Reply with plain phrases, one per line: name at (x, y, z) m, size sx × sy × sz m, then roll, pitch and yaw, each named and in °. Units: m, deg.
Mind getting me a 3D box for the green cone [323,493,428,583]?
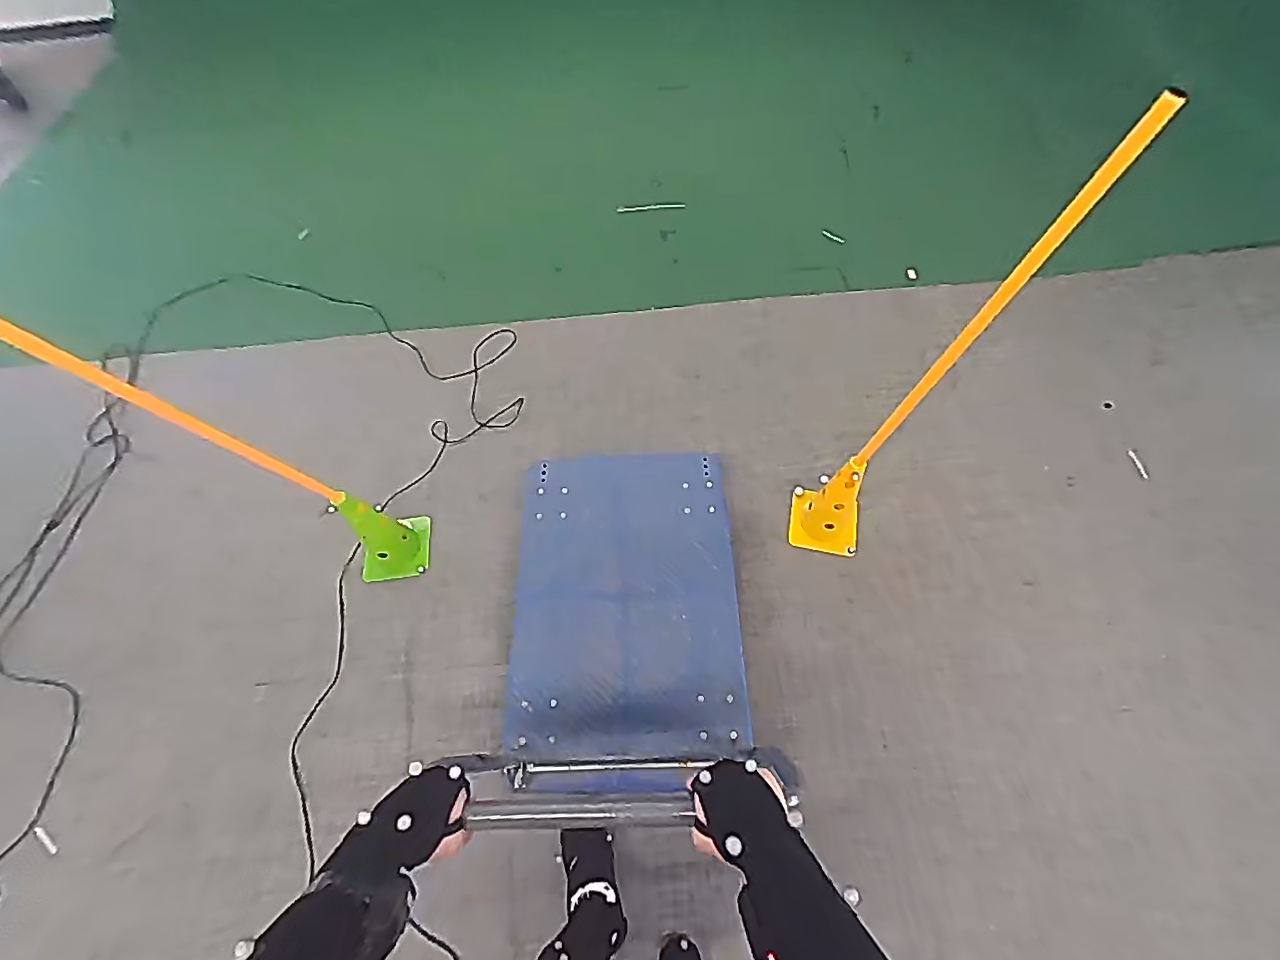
green cone at (-0.779, 0.132, 1.546) m, size 0.202 × 0.368 × 0.200 m, roll -9°, pitch 60°, yaw 0°
